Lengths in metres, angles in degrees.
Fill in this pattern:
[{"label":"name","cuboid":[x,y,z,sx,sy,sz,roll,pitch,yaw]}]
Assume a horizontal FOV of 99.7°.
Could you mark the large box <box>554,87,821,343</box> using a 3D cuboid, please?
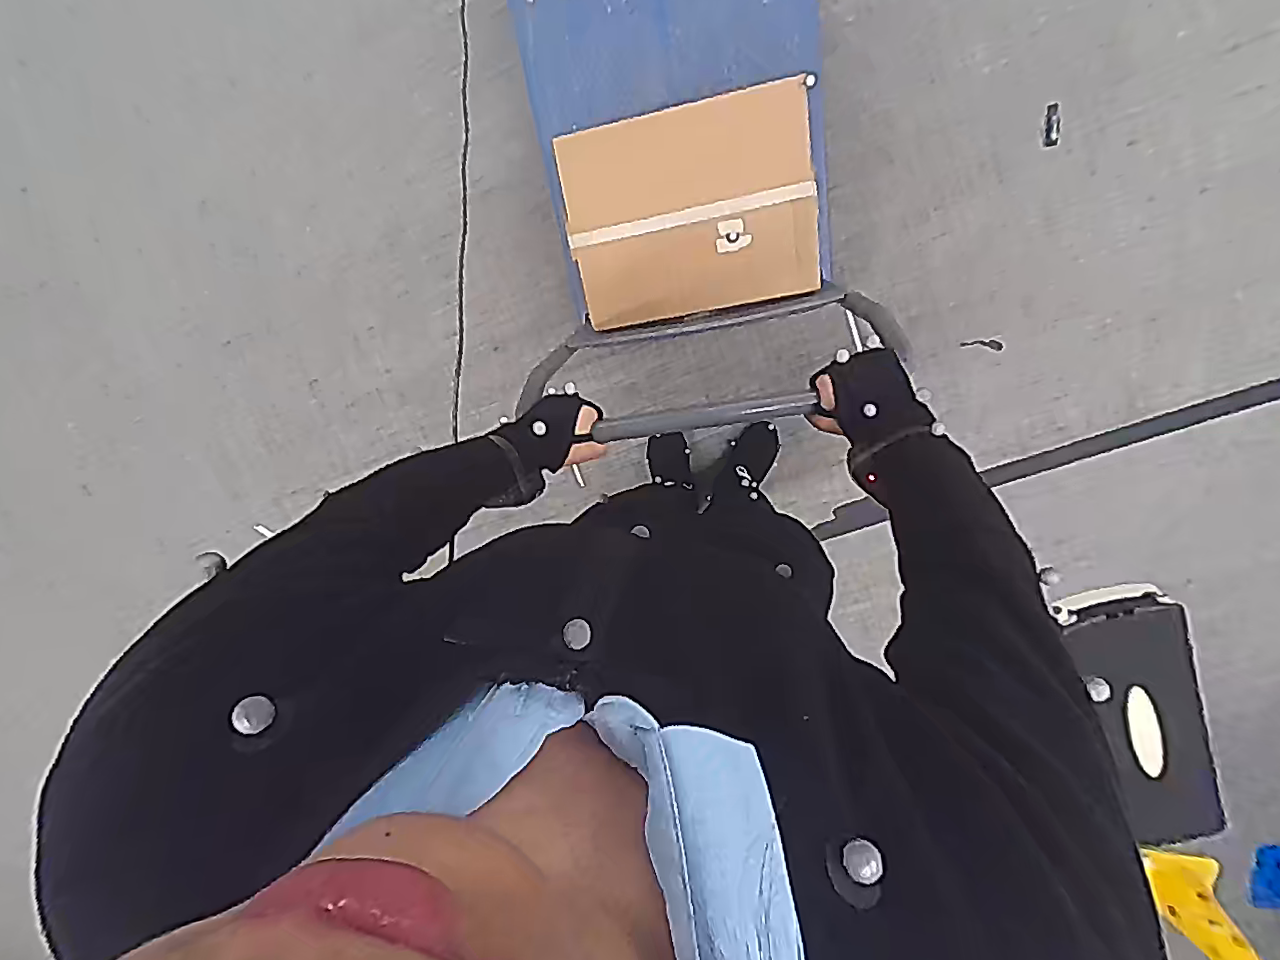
[{"label":"large box","cuboid":[0.095,-0.469,1.028,0.408,0.320,0.320,-8,110,9]}]
